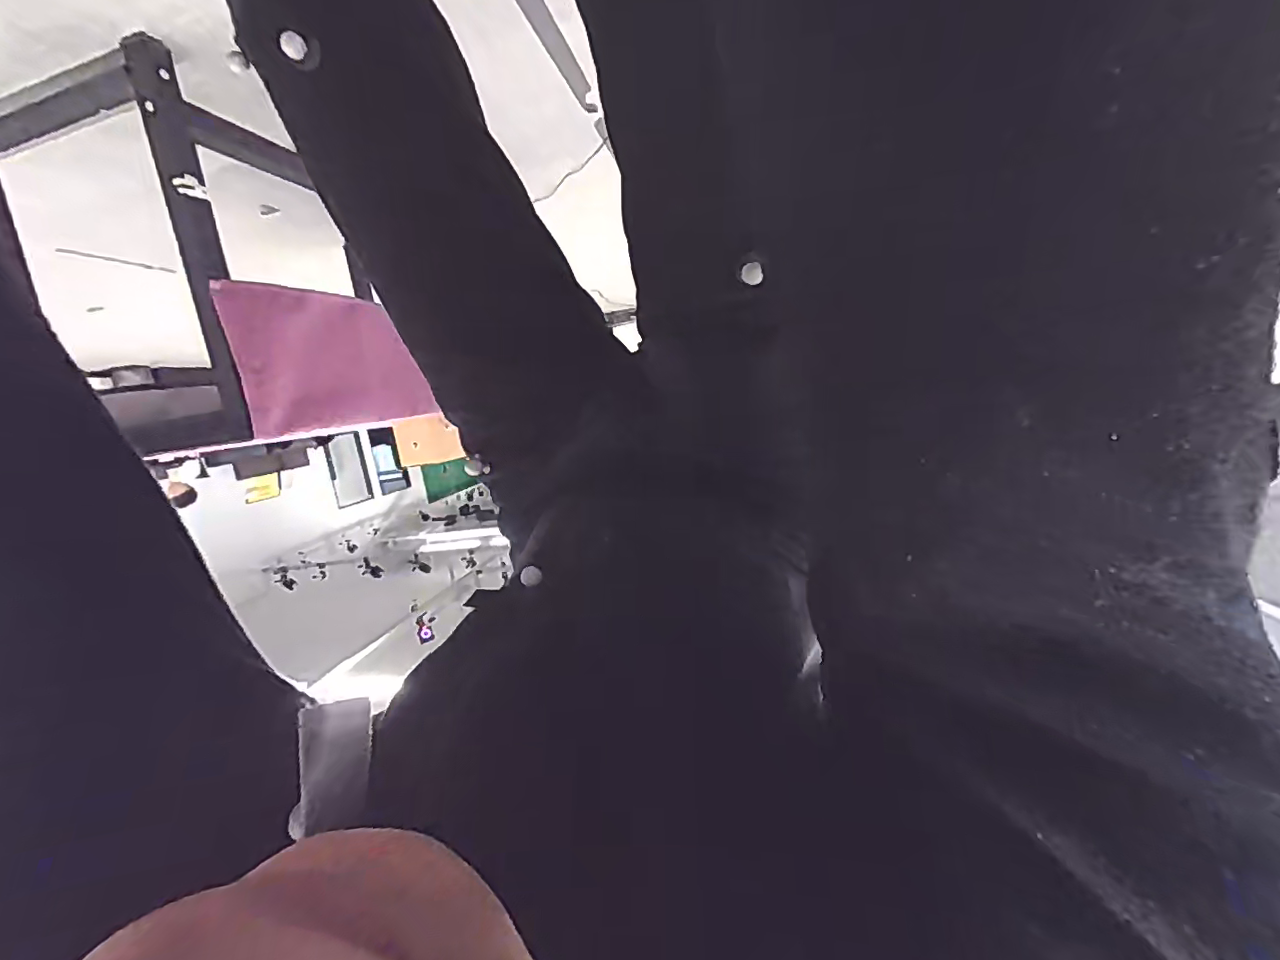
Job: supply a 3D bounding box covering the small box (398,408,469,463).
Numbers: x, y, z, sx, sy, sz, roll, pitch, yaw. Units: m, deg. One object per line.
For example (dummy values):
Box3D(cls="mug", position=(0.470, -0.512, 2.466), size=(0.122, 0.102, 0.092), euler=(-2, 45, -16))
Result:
Box3D(cls="small box", position=(-0.755, -0.166, 1.967), size=(0.179, 0.176, 0.168), euler=(-6, -169, 27))
